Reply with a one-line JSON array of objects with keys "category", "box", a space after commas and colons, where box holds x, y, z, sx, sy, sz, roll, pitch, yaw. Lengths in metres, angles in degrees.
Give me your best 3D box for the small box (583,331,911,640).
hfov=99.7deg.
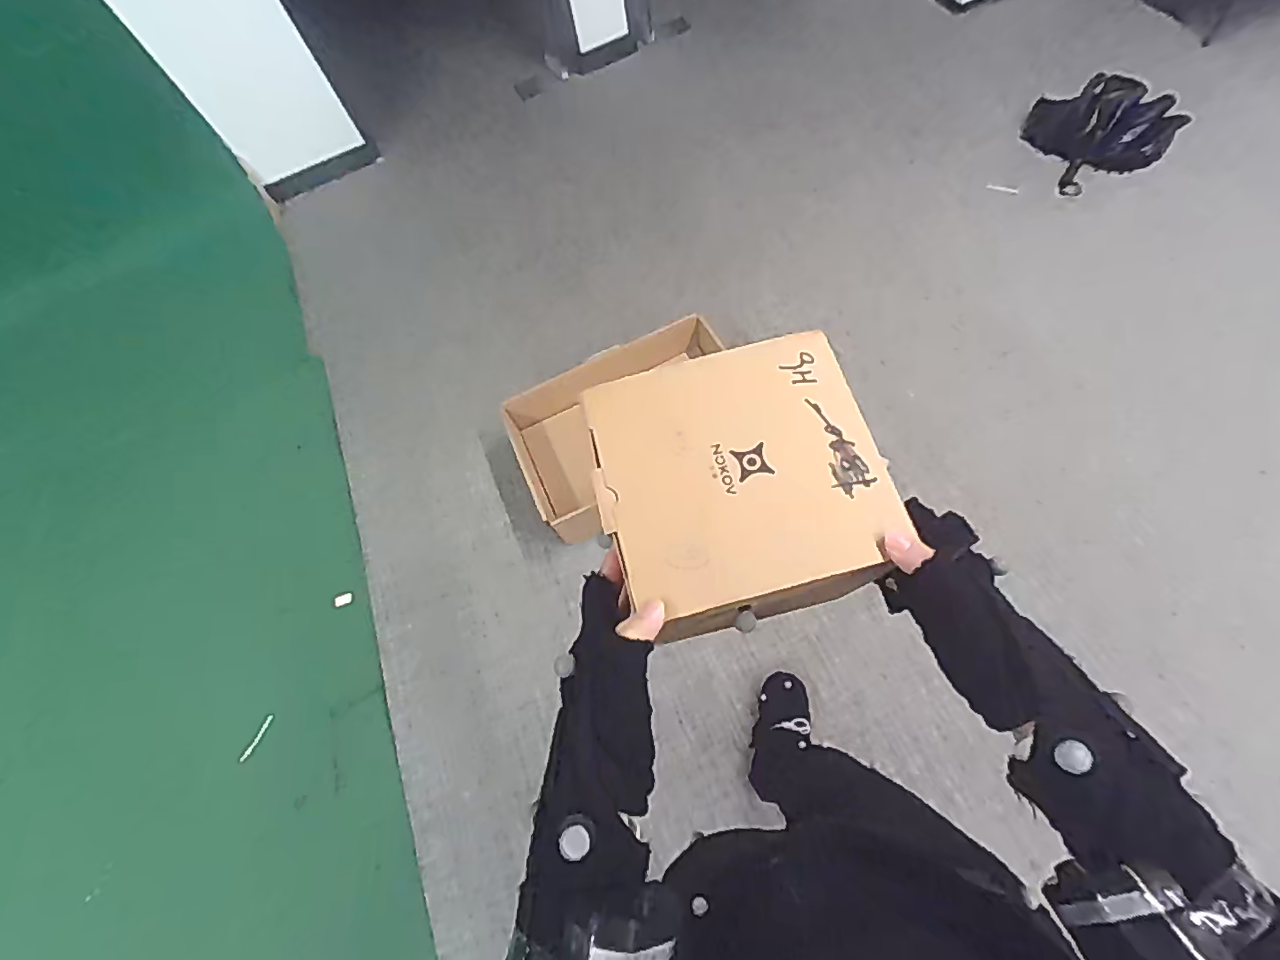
[{"category": "small box", "box": [0.069, 0.018, 0.431, 0.179, 0.176, 0.168, -17, 67, -4]}]
